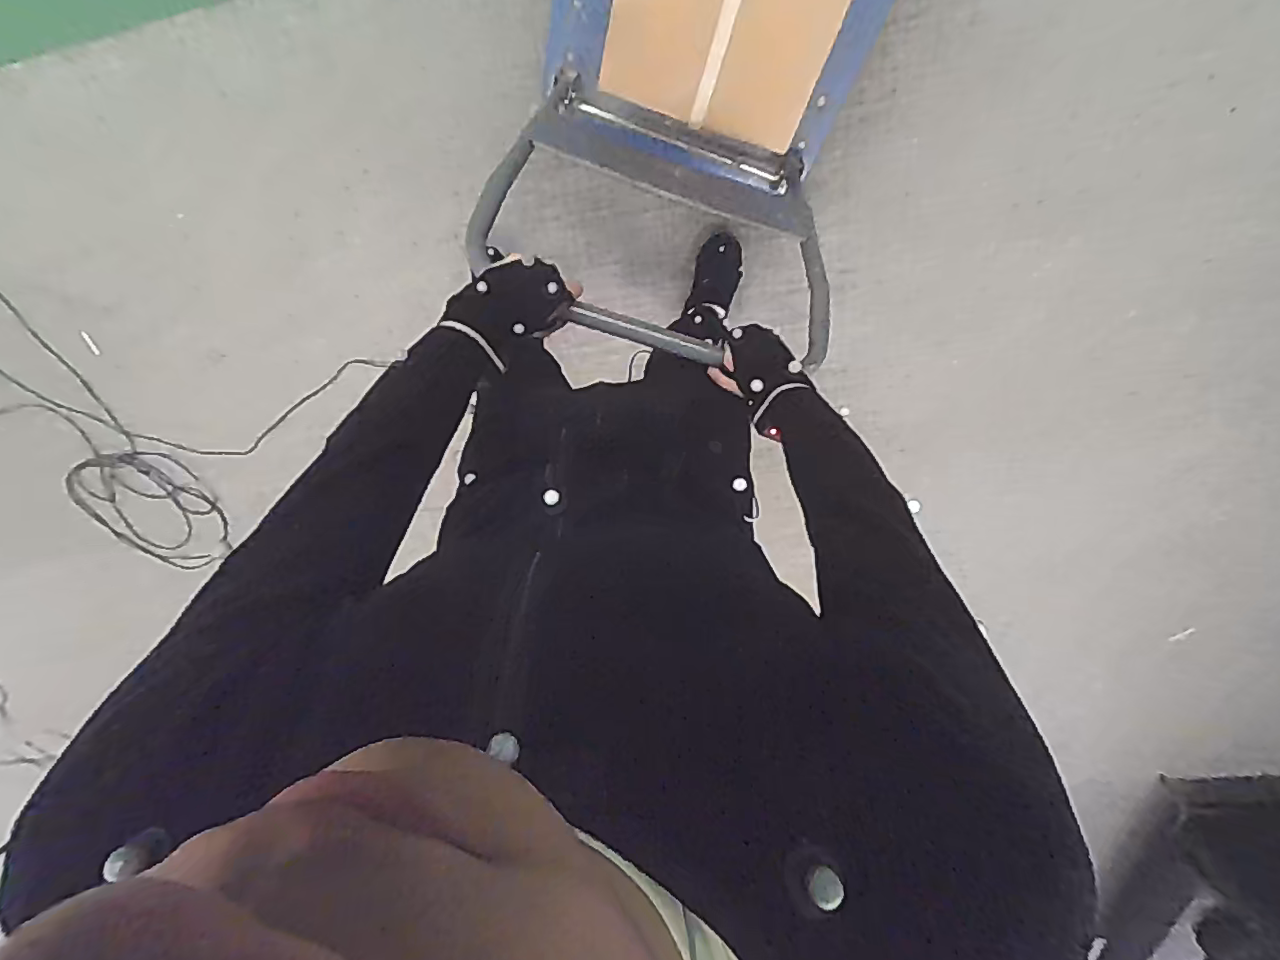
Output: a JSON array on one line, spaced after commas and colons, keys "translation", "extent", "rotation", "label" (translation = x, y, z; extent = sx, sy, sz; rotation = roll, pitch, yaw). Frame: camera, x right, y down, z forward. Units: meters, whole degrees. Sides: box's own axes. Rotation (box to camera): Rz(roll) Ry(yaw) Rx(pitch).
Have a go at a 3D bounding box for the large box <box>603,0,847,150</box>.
[{"translation": [0.151, -0.799, 0.814], "extent": [0.320, 0.320, 0.408], "rotation": [14, 135, -8], "label": "large box"}]
